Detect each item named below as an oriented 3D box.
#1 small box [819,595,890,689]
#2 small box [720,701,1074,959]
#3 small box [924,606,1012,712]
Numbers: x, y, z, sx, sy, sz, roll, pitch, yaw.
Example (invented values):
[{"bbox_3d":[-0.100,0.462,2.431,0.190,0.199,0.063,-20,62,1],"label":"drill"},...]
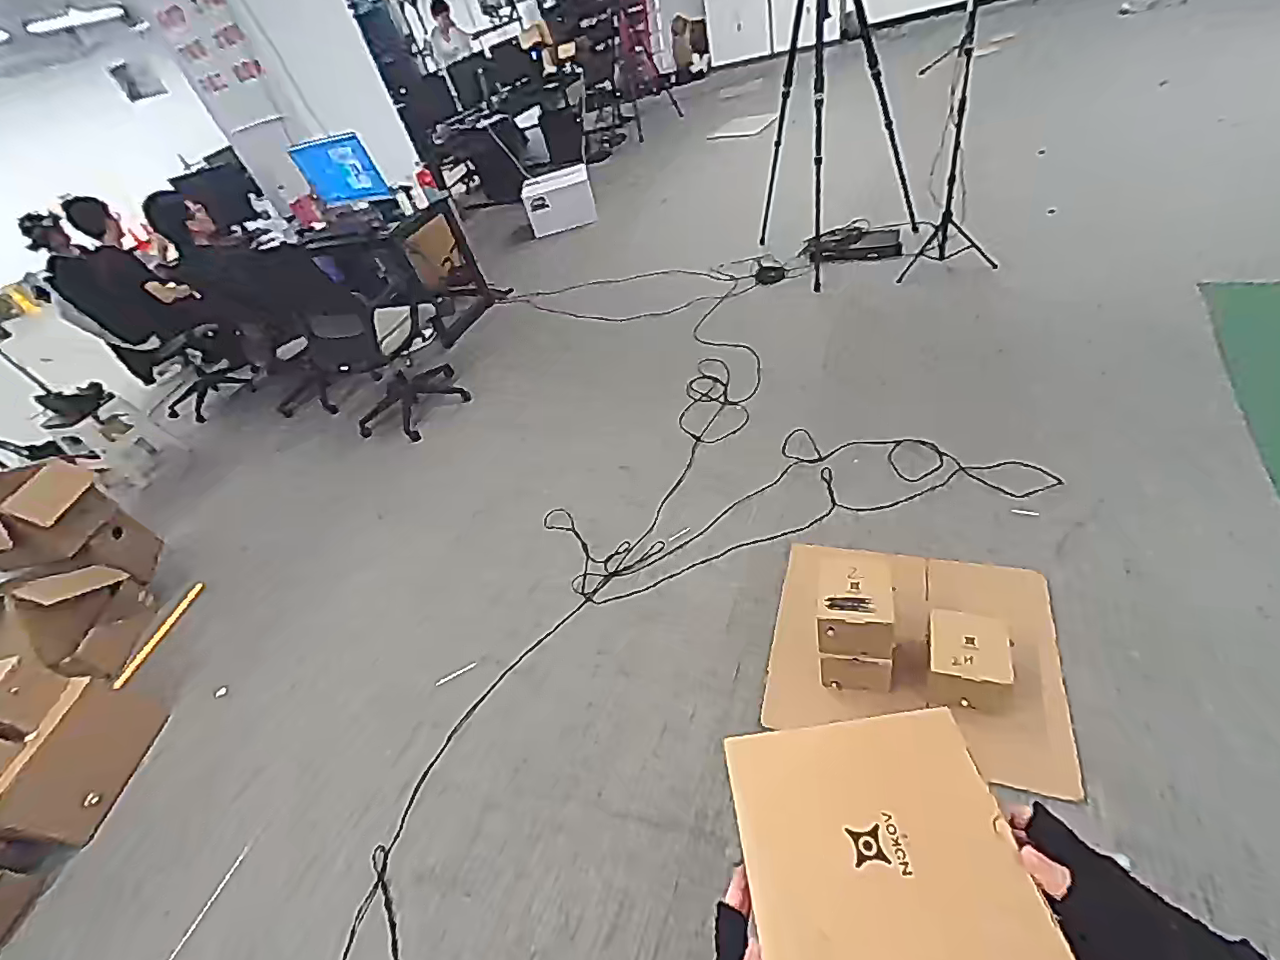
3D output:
[{"bbox_3d":[0.565,0.428,1.424,0.168,0.176,0.179,1,46,21],"label":"small box"},{"bbox_3d":[0.167,0.295,0.409,0.179,0.176,0.168,-10,42,4],"label":"small box"},{"bbox_3d":[0.798,0.439,1.331,0.168,0.176,0.179,3,47,25],"label":"small box"}]
